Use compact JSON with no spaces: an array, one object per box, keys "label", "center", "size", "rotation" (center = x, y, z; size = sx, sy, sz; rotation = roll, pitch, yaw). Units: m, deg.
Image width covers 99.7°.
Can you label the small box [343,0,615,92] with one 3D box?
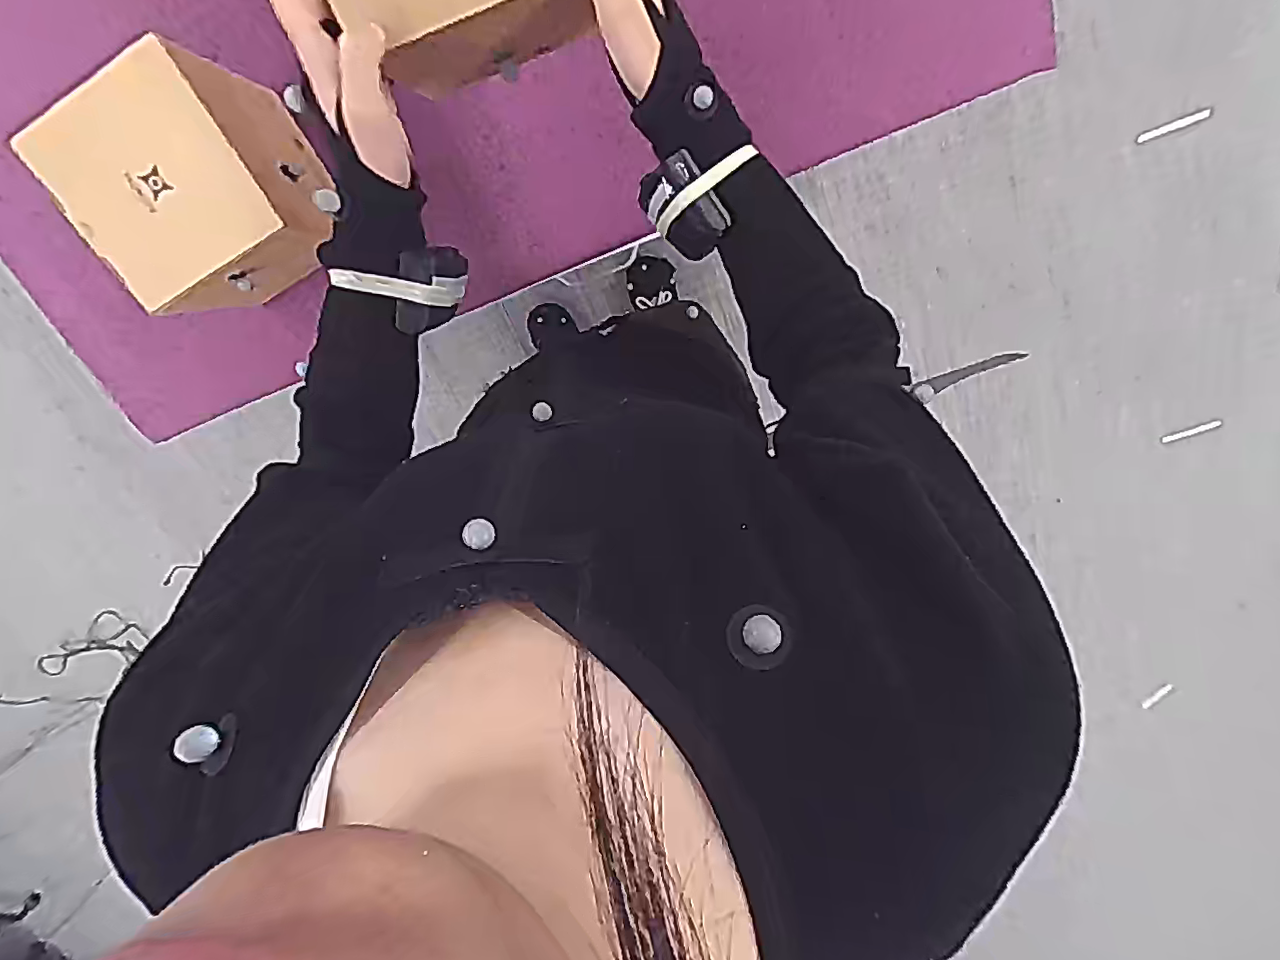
[{"label":"small box","center":[-0.119,-0.391,0.354],"size":[0.168,0.176,0.179],"rotation":[-17,119,6]}]

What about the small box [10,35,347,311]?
[{"label":"small box","center":[-0.441,-0.298,0.560],"size":[0.179,0.176,0.168],"rotation":[-26,110,11]}]
